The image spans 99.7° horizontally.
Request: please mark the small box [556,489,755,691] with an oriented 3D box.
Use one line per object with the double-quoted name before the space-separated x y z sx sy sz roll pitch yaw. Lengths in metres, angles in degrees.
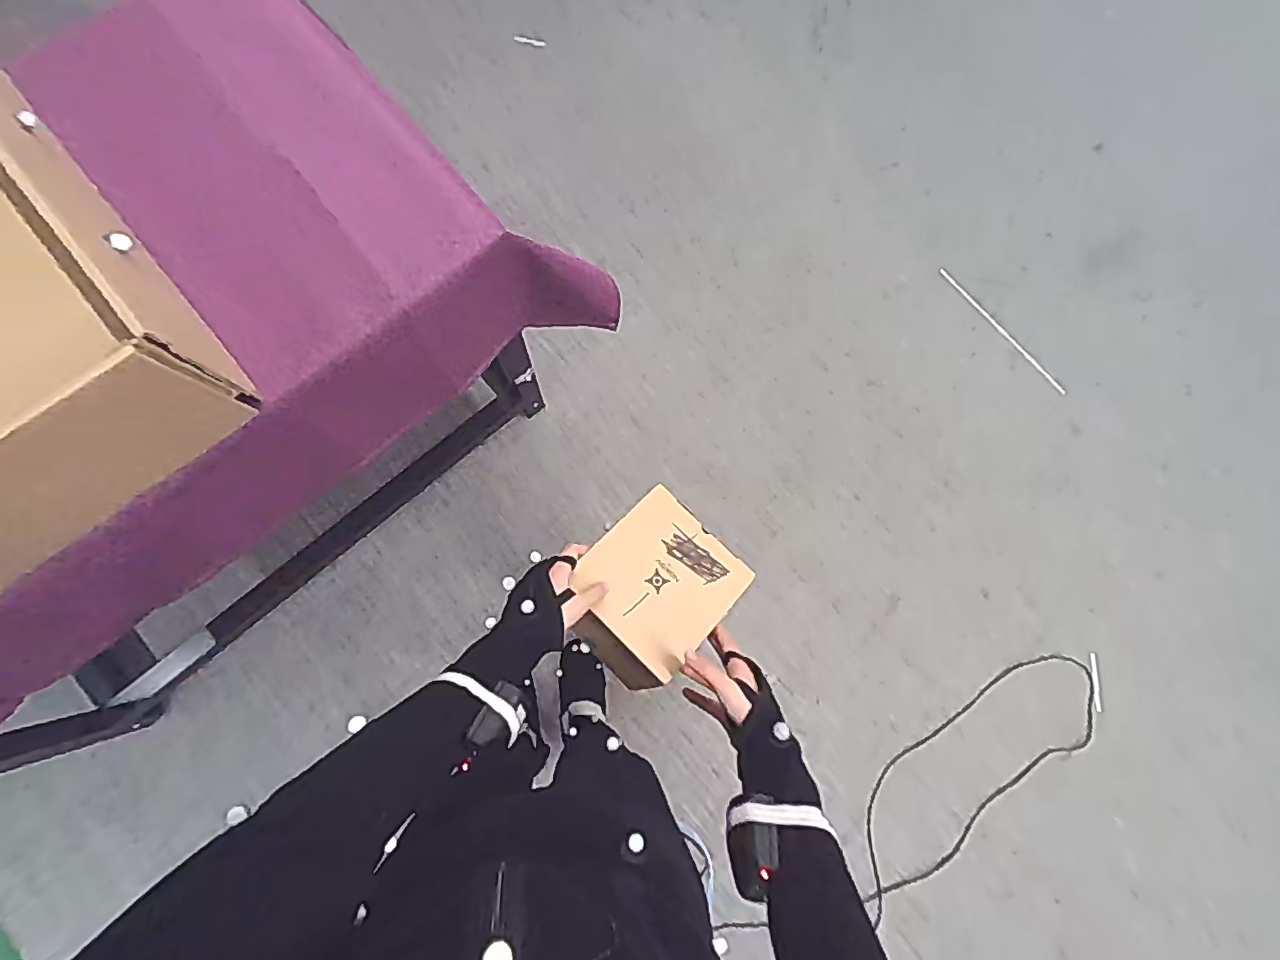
"small box" 0.008 0.146 0.694 0.168 0.176 0.179 44 65 7
